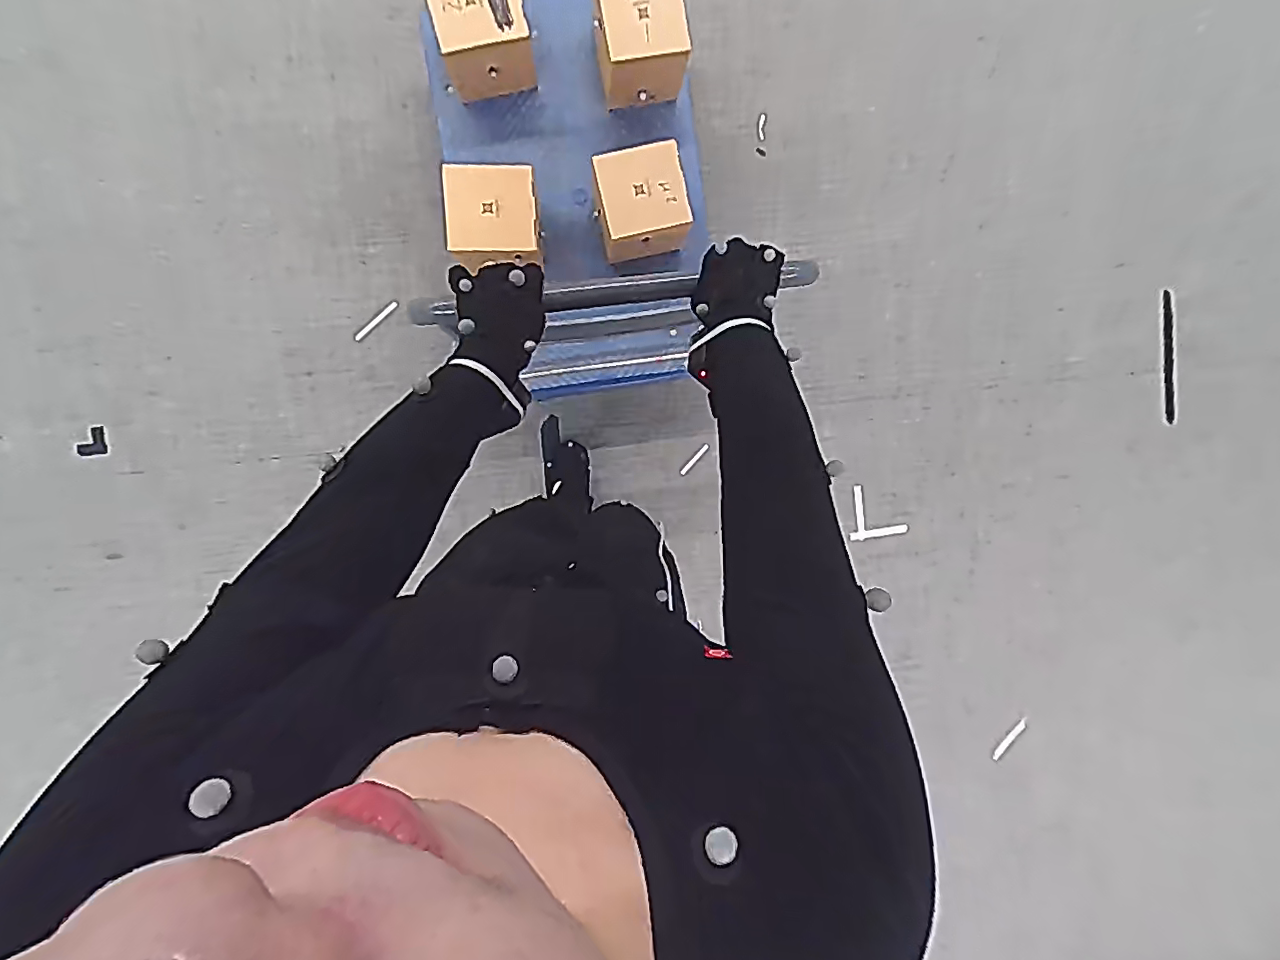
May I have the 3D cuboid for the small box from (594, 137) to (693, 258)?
[{"bbox_3d":[0.003,-0.602,1.173,0.179,0.176,0.168,-14,97,-4],"label":"small box"}]

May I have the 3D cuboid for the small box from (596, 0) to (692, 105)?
[{"bbox_3d":[0.002,-0.938,1.140,0.168,0.176,0.179,-12,98,-4],"label":"small box"}]

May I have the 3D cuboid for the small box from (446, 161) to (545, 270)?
[{"bbox_3d":[-0.299,-0.553,1.151,0.179,0.176,0.168,-3,96,-7],"label":"small box"}]
